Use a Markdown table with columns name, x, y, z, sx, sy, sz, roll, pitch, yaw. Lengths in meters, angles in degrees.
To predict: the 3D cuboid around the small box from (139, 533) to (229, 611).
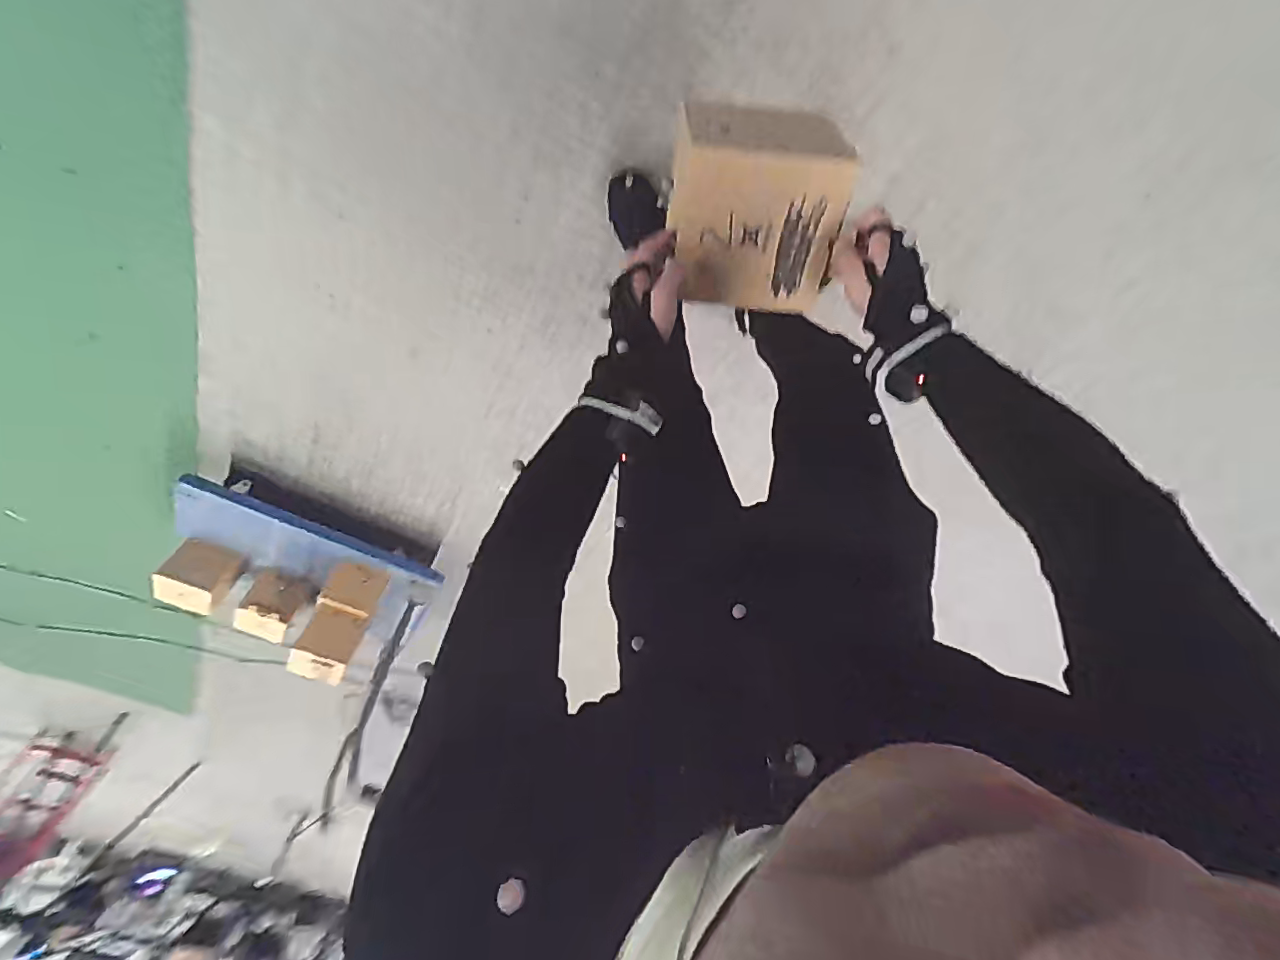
| name | x | y | z | sx | sy | sz | roll | pitch | yaw |
| --- | --- | --- | --- | --- | --- | --- | --- | --- | --- |
| small box | -1.532 | 0.308 | 1.823 | 0.179 | 0.176 | 0.168 | 28 | 127 | -18 |

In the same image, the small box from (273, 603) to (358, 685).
| name | x | y | z | sx | sy | sz | roll | pitch | yaw |
| --- | --- | --- | --- | --- | --- | --- | --- | --- | --- |
| small box | -1.032 | 0.520 | 1.728 | 0.168 | 0.176 | 0.179 | 28 | 129 | -16 |

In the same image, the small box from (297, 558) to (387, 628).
| name | x | y | z | sx | sy | sz | roll | pitch | yaw |
| --- | --- | --- | --- | --- | --- | --- | --- | --- | --- |
| small box | -1.006 | 0.393 | 1.844 | 0.168 | 0.176 | 0.179 | -21 | 126 | 21 |
